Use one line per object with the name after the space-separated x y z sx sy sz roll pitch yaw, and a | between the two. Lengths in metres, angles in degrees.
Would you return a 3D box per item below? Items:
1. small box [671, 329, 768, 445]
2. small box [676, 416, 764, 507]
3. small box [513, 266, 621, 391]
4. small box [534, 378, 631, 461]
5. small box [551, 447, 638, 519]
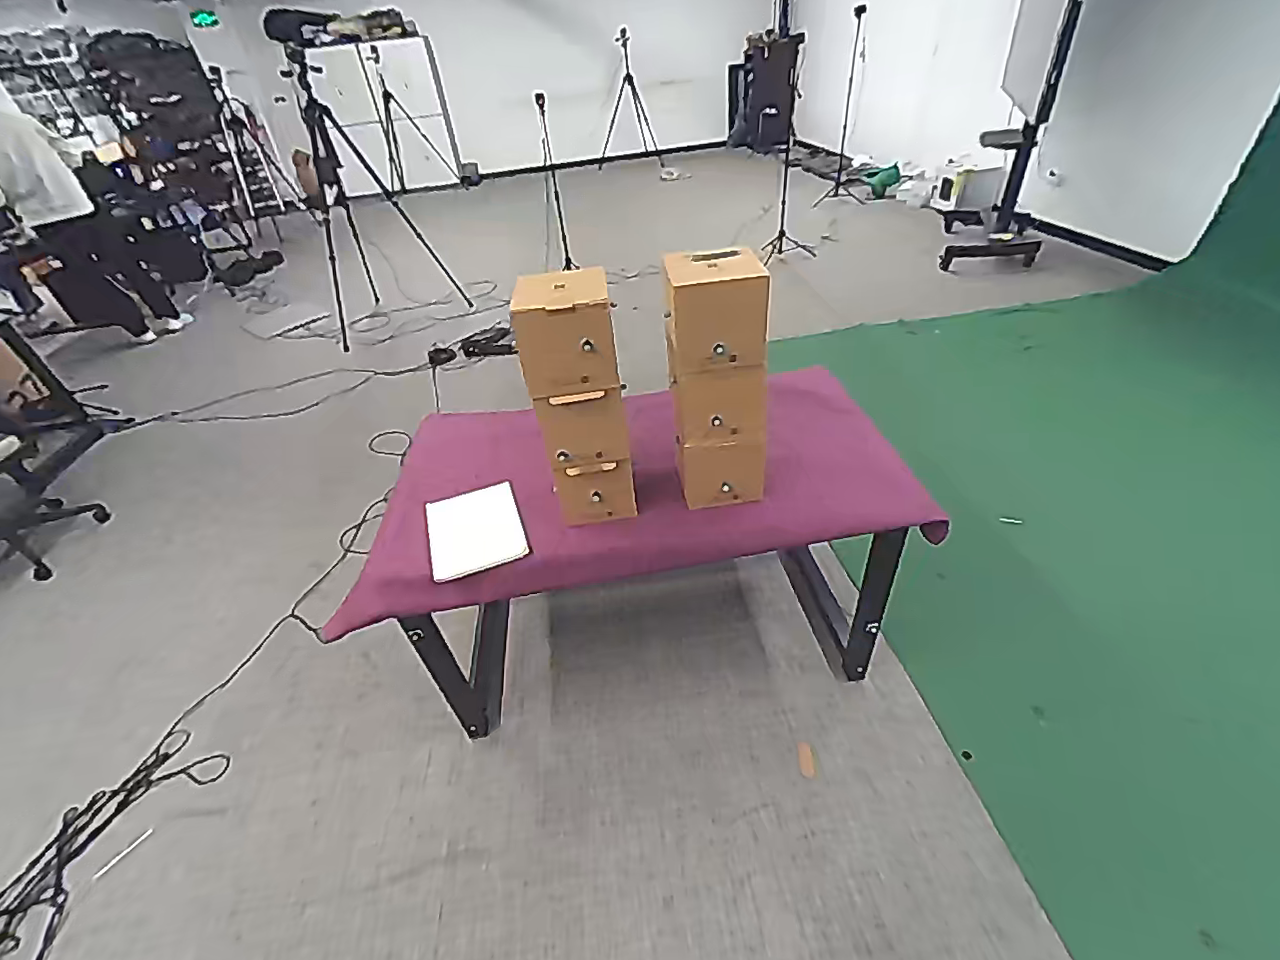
0.157 -0.193 1.118 0.168 0.176 0.179 -7 38 -1 | small box
0.174 -0.062 1.214 0.168 0.176 0.179 -9 38 0 | small box
-0.127 -0.275 0.998 0.168 0.176 0.179 -7 38 -1 | small box
-0.113 -0.151 1.104 0.168 0.176 0.179 -7 38 -1 | small box
-0.098 -0.027 1.212 0.168 0.176 0.179 -8 39 -1 | small box
